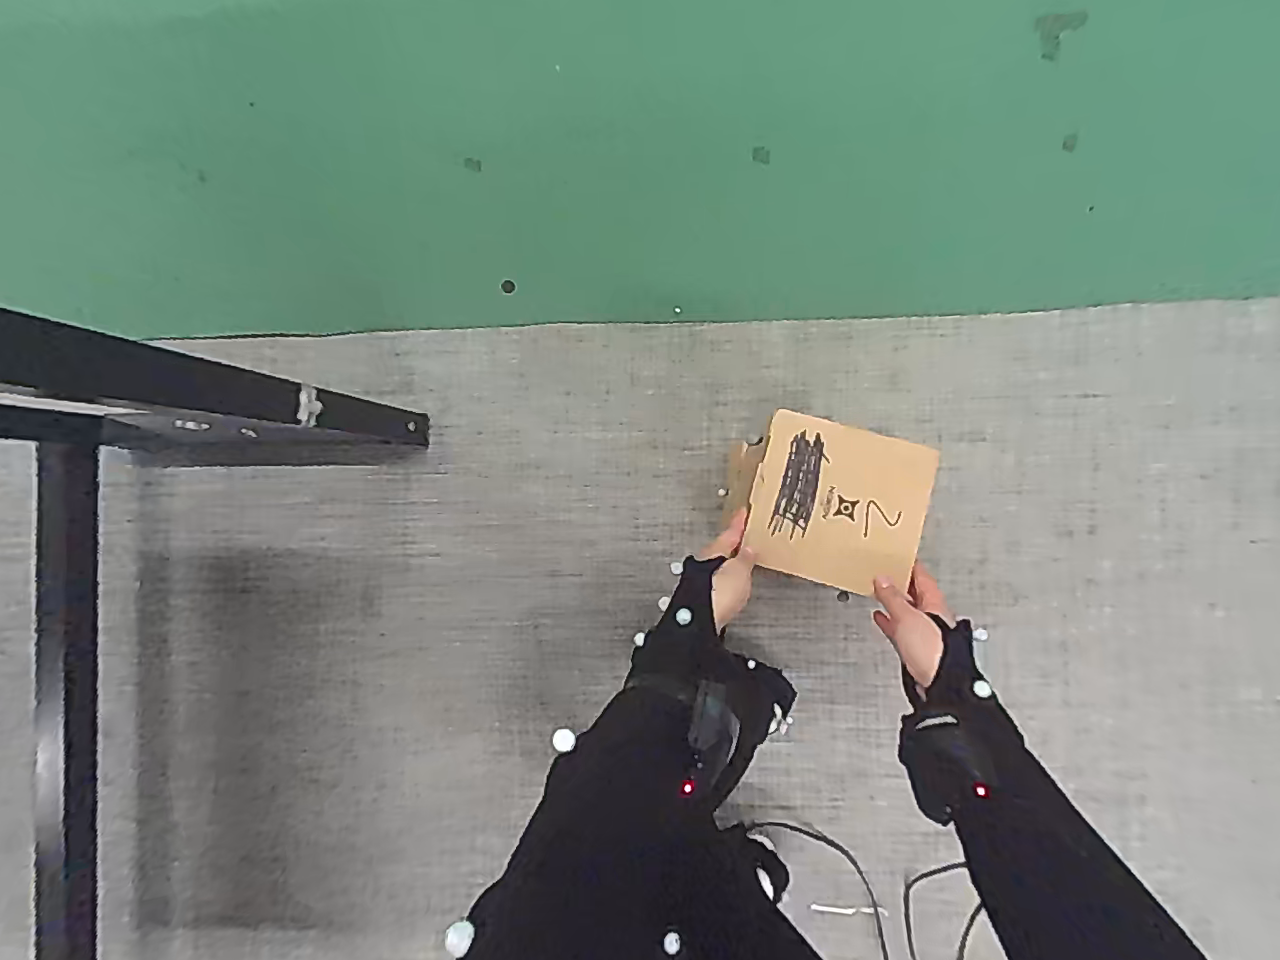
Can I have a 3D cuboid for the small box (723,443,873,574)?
[{"bbox_3d":[0.231,0.039,0.833,0.179,0.176,0.168,8,90,4],"label":"small box"}]
